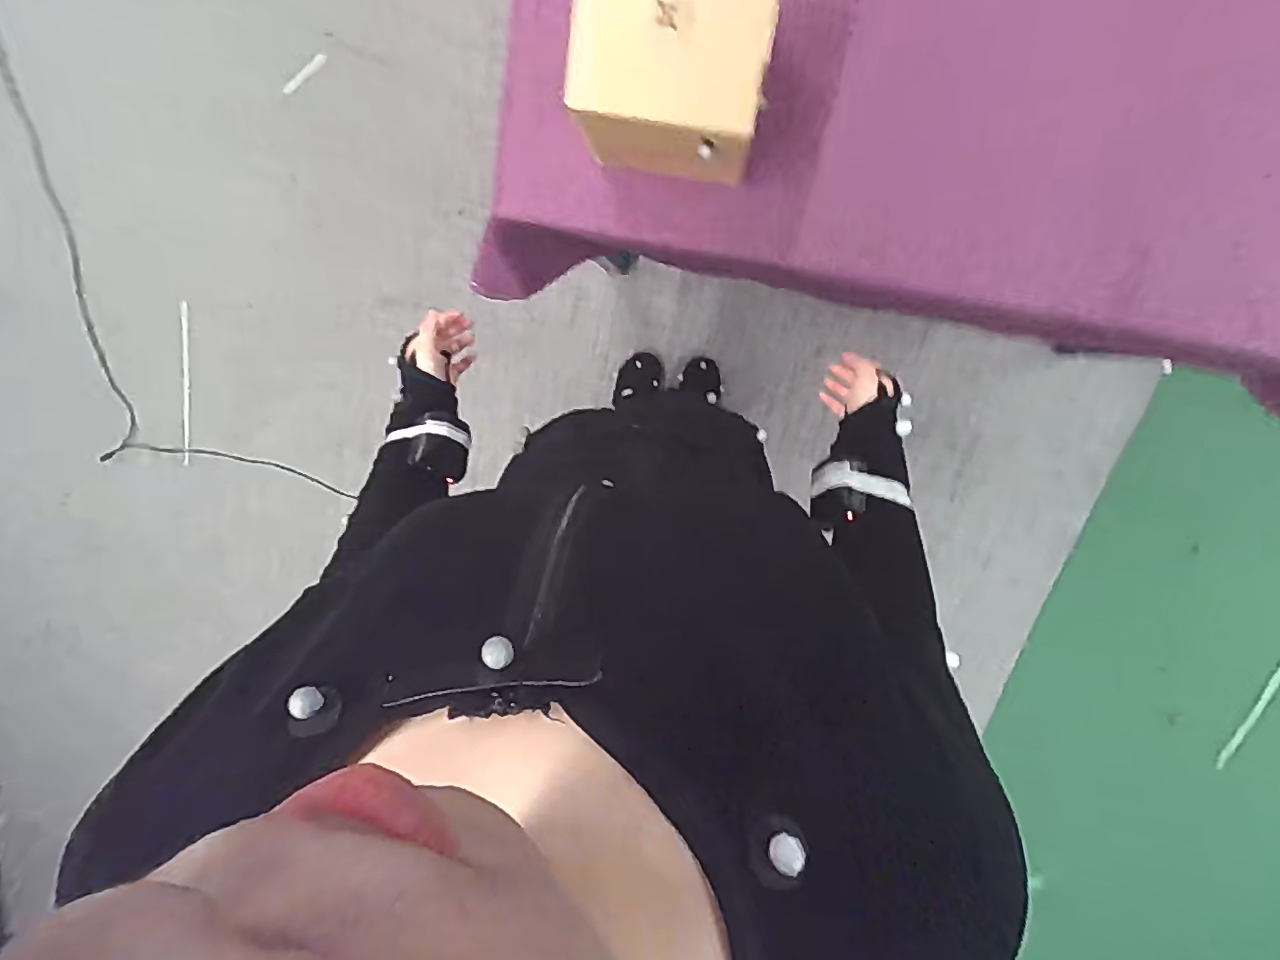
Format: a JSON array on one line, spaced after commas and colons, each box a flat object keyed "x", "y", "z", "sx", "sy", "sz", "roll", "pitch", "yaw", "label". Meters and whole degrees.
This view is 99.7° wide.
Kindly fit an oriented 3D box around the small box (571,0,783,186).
[{"x": 0.041, "y": -0.422, "z": 0.556, "sx": 0.179, "sy": 0.176, "sz": 0.168, "roll": 11, "pitch": 105, "yaw": 3, "label": "small box"}]
